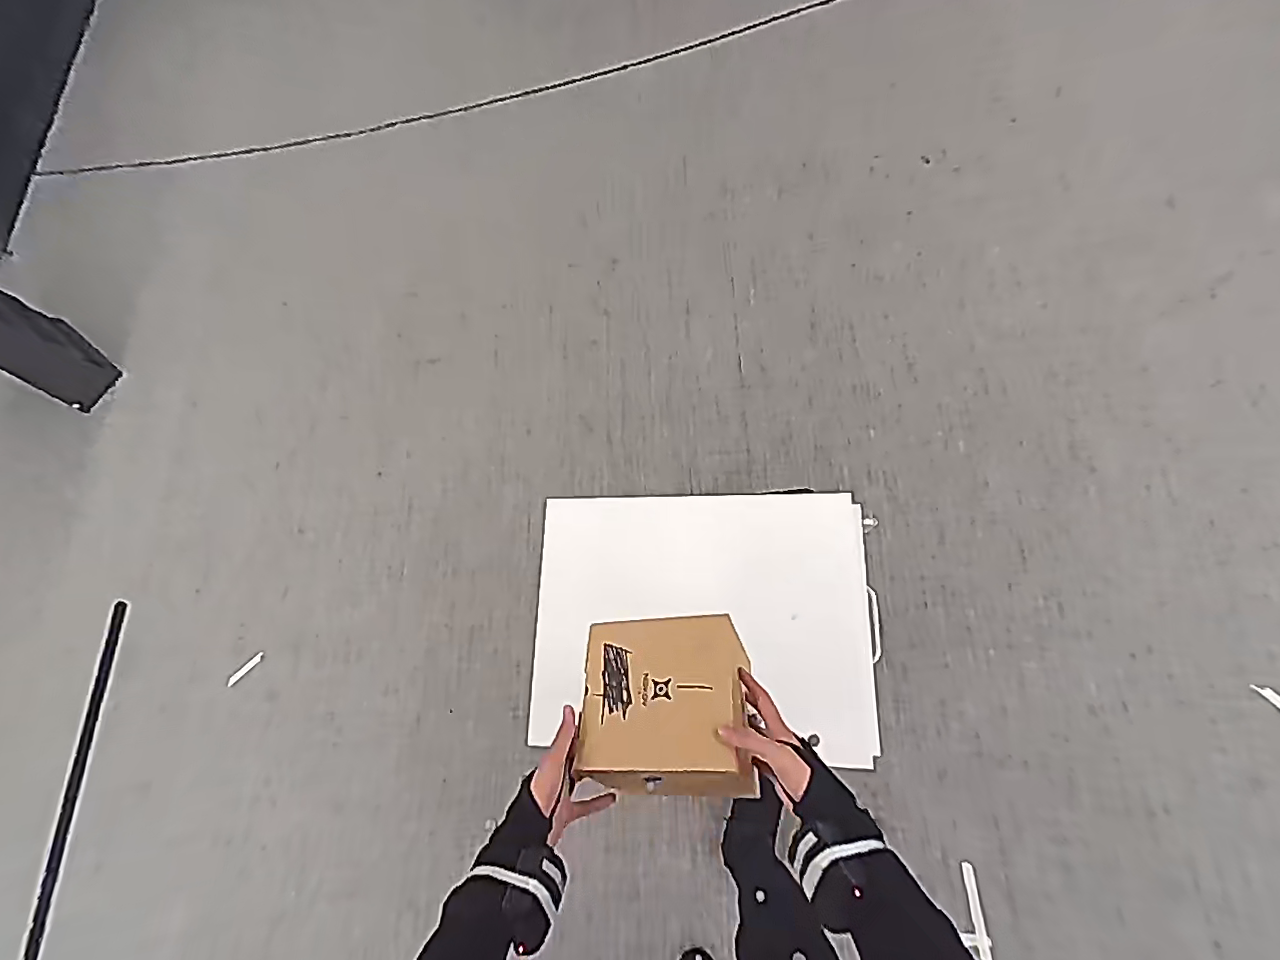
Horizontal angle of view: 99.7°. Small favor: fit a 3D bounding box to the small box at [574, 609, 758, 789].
[{"bbox_3d":[0.040,0.274,0.663,0.179,0.176,0.168,-9,52,16],"label":"small box"}]
